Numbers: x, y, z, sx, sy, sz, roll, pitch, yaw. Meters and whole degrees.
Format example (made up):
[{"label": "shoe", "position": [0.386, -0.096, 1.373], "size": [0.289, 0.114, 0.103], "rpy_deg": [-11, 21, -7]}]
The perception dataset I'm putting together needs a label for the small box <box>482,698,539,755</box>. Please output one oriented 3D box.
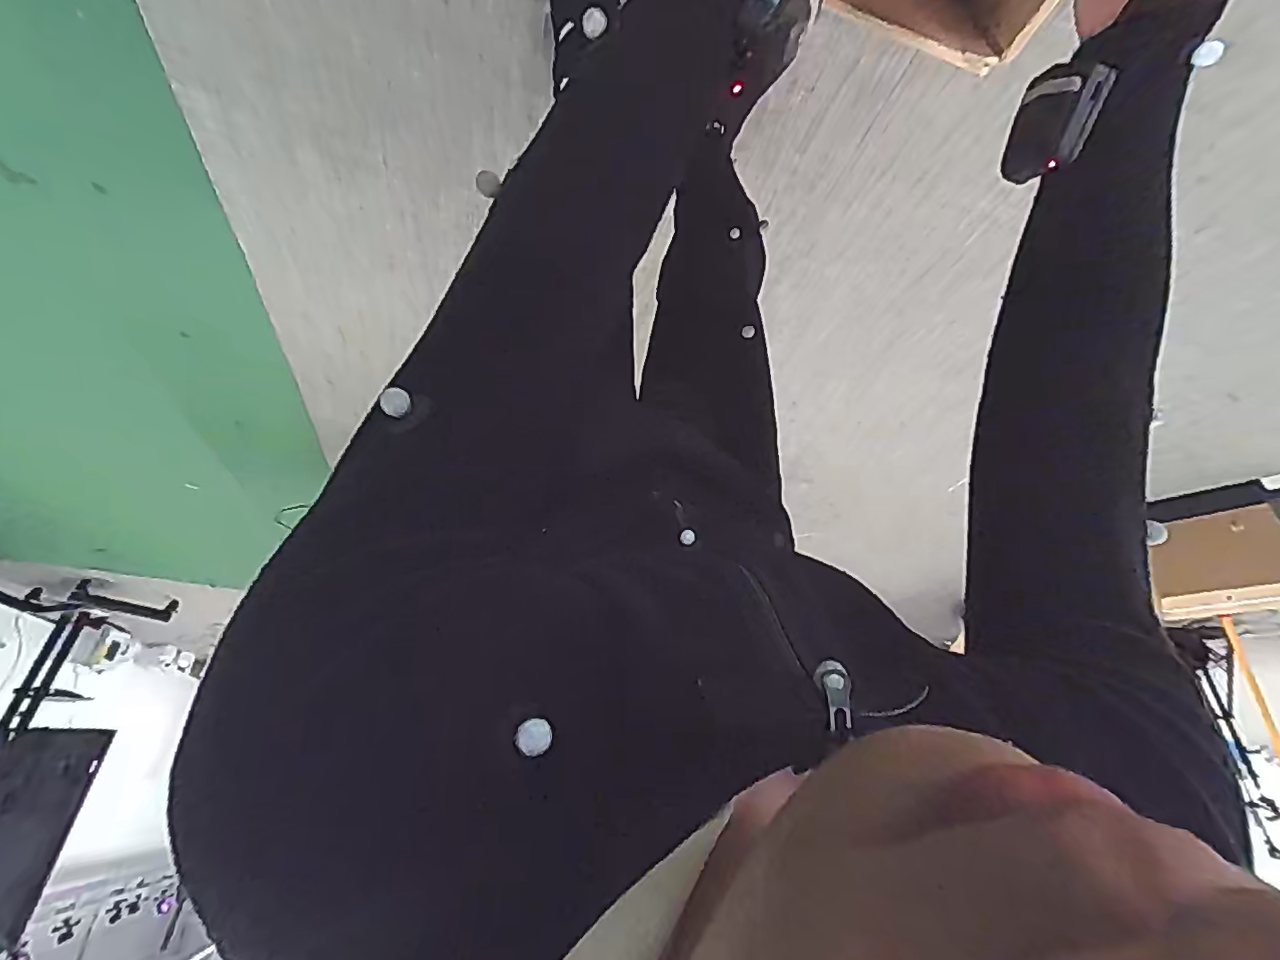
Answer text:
[{"label": "small box", "position": [-0.455, 0.875, 1.919], "size": [0.179, 0.176, 0.168], "rpy_deg": [8, 148, -8]}]
